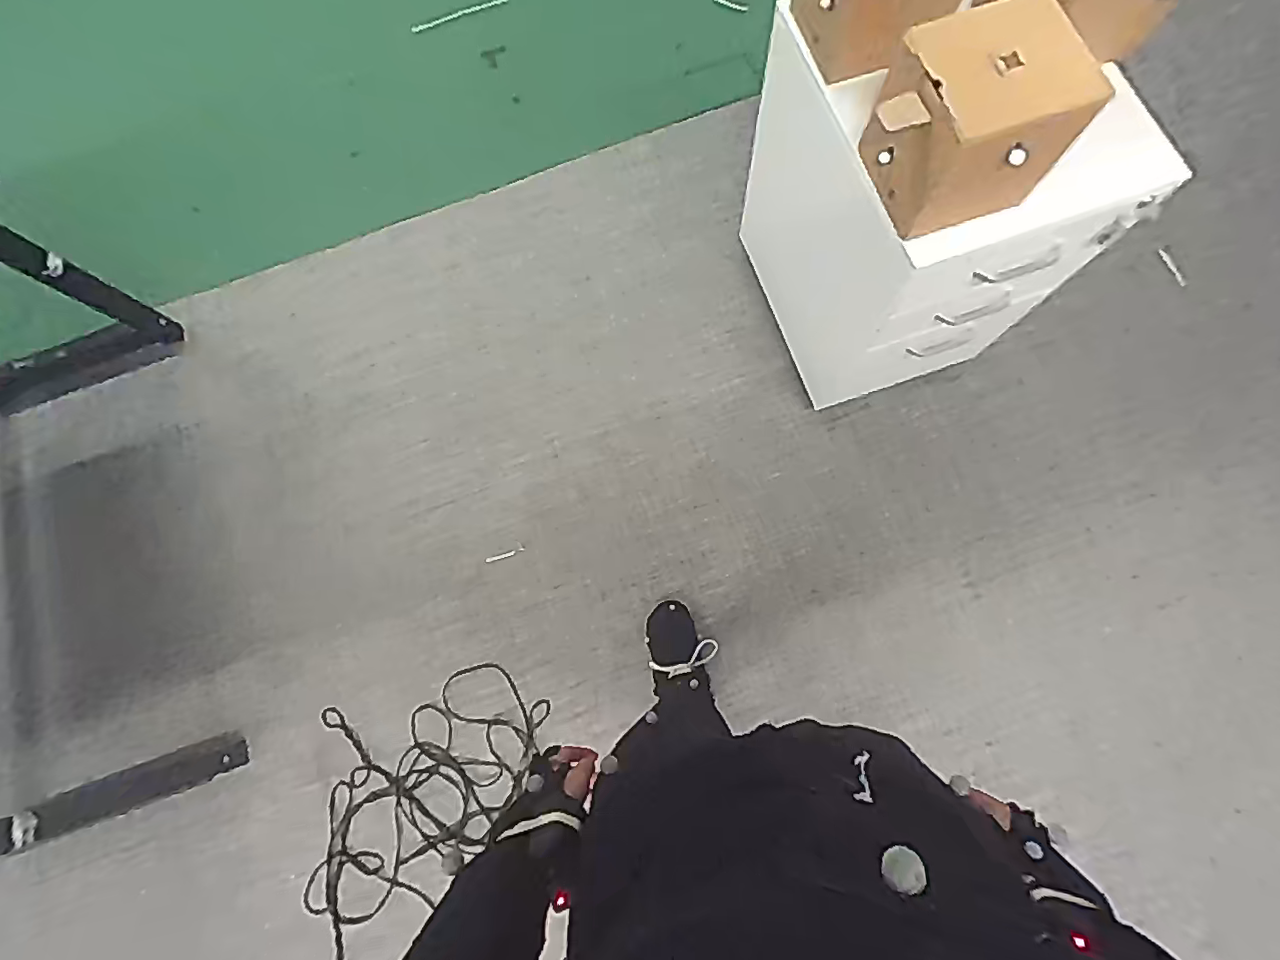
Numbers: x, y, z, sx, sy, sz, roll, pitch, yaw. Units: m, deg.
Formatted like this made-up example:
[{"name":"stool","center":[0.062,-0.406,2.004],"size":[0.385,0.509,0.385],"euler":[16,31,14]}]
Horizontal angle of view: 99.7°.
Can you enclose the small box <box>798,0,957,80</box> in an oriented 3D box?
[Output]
[{"name":"small box","center":[0.332,-0.700,0.742],"size":[0.179,0.176,0.168],"euler":[-17,78,-2]}]

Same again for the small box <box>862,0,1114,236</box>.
[{"name":"small box","center":[0.413,-0.444,0.677],"size":[0.179,0.176,0.168],"euler":[-18,76,0]}]
